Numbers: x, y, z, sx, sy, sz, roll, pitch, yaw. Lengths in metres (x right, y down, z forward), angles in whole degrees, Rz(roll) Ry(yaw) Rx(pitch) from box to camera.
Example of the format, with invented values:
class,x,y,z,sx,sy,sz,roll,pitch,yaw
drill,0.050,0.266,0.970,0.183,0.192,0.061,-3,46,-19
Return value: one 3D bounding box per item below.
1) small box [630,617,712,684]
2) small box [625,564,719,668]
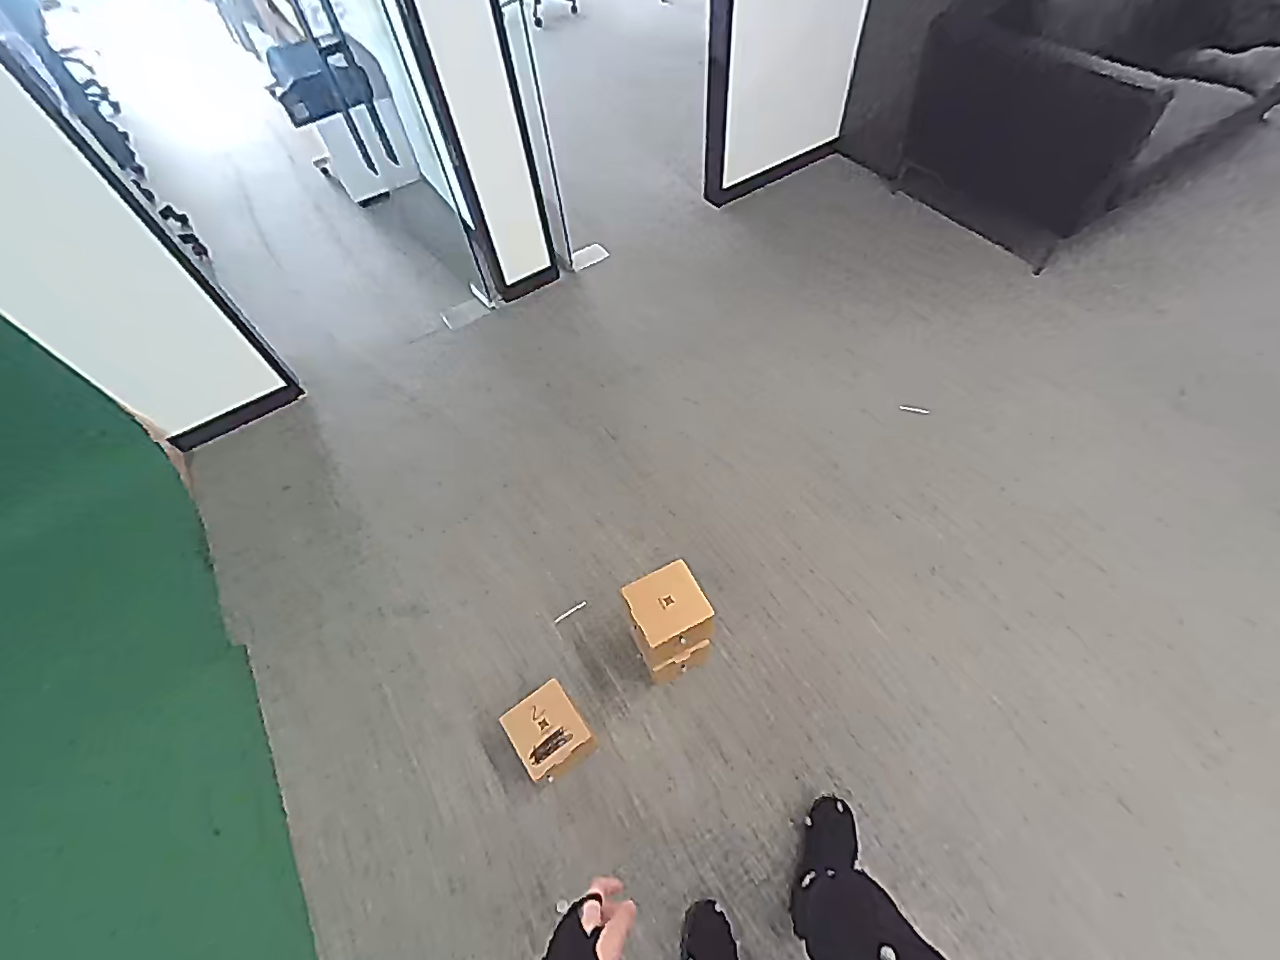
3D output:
class,x,y,z,sx,sy,sz,roll,pitch,yaw
small box,0.087,0.445,1.494,0.168,0.176,0.179,-23,59,-11
small box,0.079,0.346,1.365,0.179,0.176,0.168,-25,58,-11
